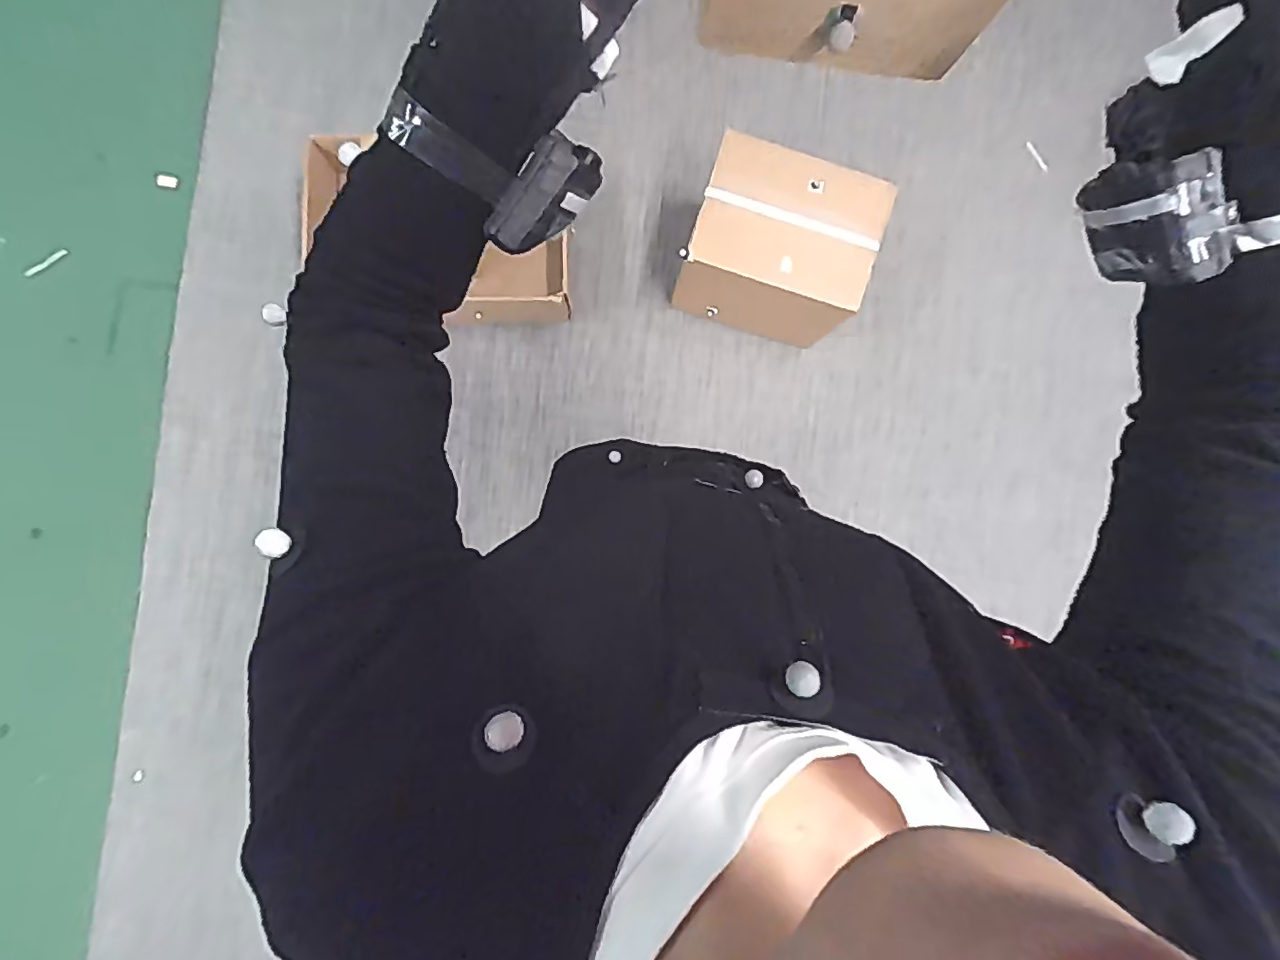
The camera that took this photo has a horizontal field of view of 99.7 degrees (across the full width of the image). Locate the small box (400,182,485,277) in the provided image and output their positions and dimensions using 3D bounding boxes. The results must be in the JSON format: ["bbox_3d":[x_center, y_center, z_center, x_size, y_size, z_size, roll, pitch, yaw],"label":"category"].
[{"bbox_3d":[-0.495,-0.619,1.345,0.179,0.176,0.168,0,89,-4],"label":"small box"}]
